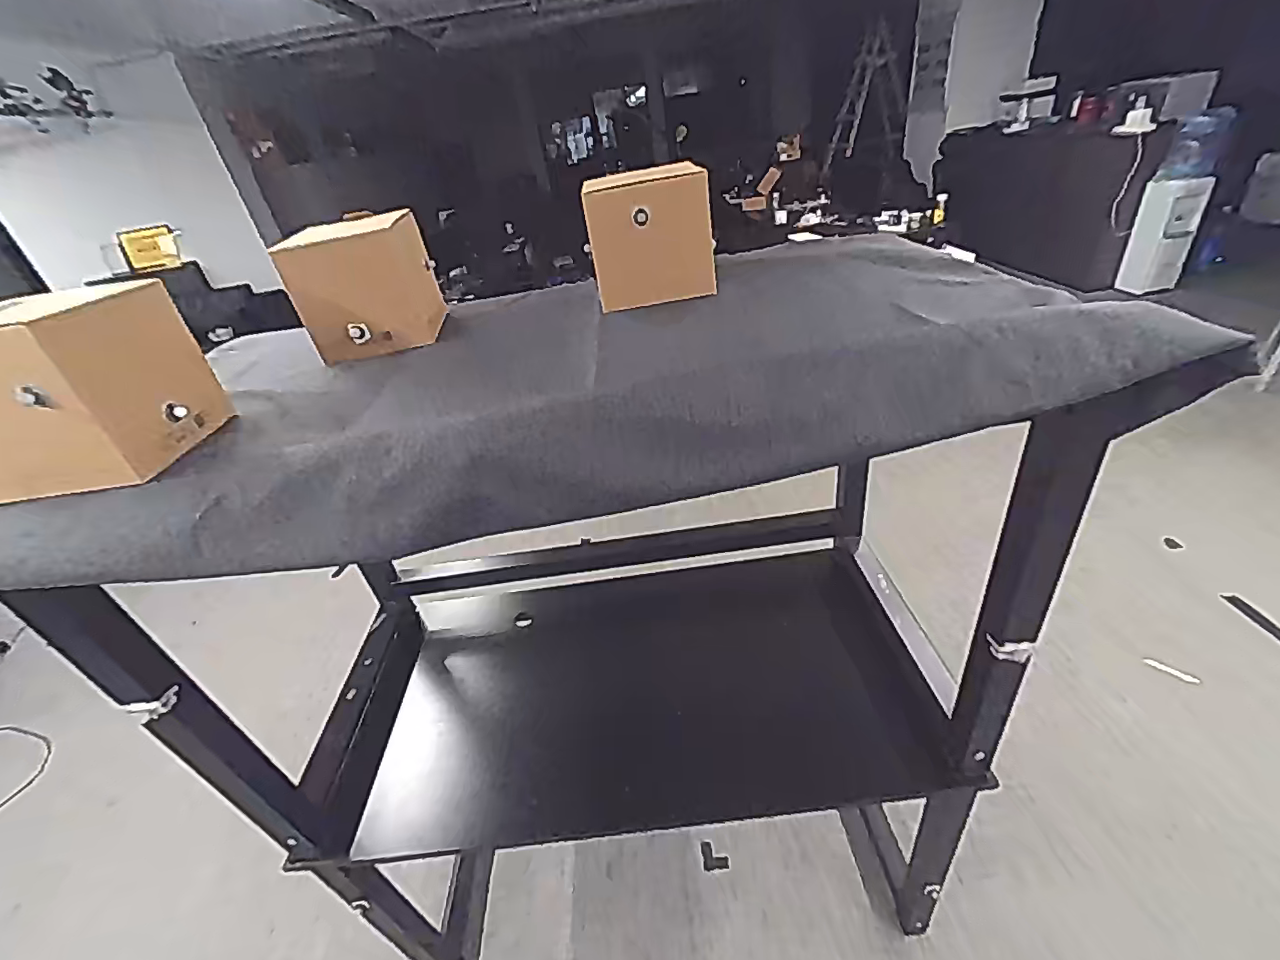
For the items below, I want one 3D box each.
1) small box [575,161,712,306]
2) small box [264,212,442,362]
[{"bbox_3d":[0.007,-0.378,0.833,0.179,0.176,0.168,-9,34,2],"label":"small box"},{"bbox_3d":[-0.419,-0.297,0.828,0.168,0.176,0.179,-14,33,-3],"label":"small box"}]
